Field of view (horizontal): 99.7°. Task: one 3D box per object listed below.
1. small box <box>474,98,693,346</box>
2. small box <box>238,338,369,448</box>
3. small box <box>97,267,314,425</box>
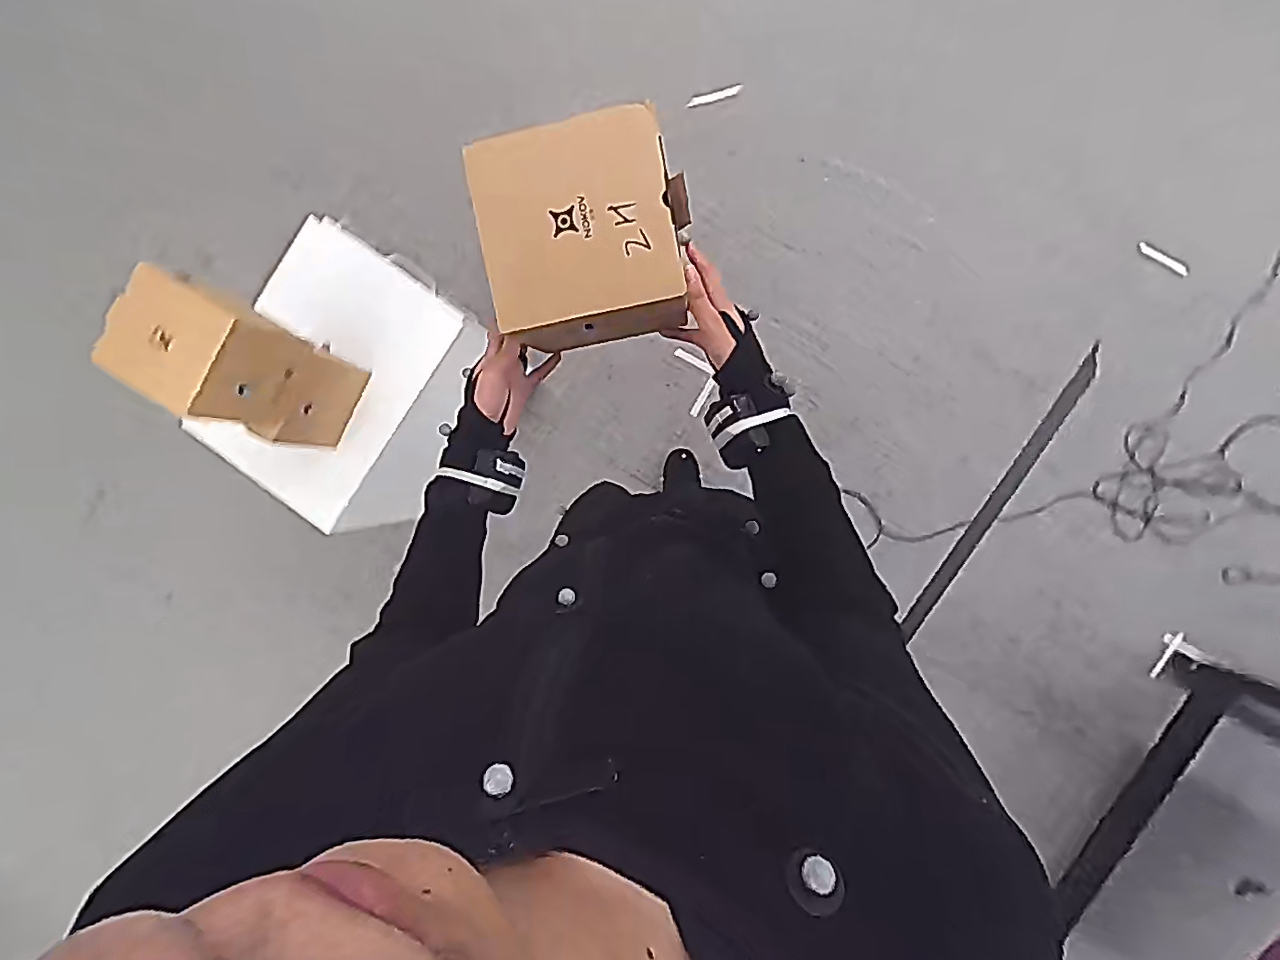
[{"bbox_3d":[-0.043,-0.241,0.555,0.179,0.176,0.168,-9,96,6],"label":"small box"},{"bbox_3d":[-0.649,-0.171,1.013,0.168,0.176,0.179,27,92,5],"label":"small box"},{"bbox_3d":[-0.666,-0.197,0.851,0.179,0.176,0.168,30,93,5],"label":"small box"}]
